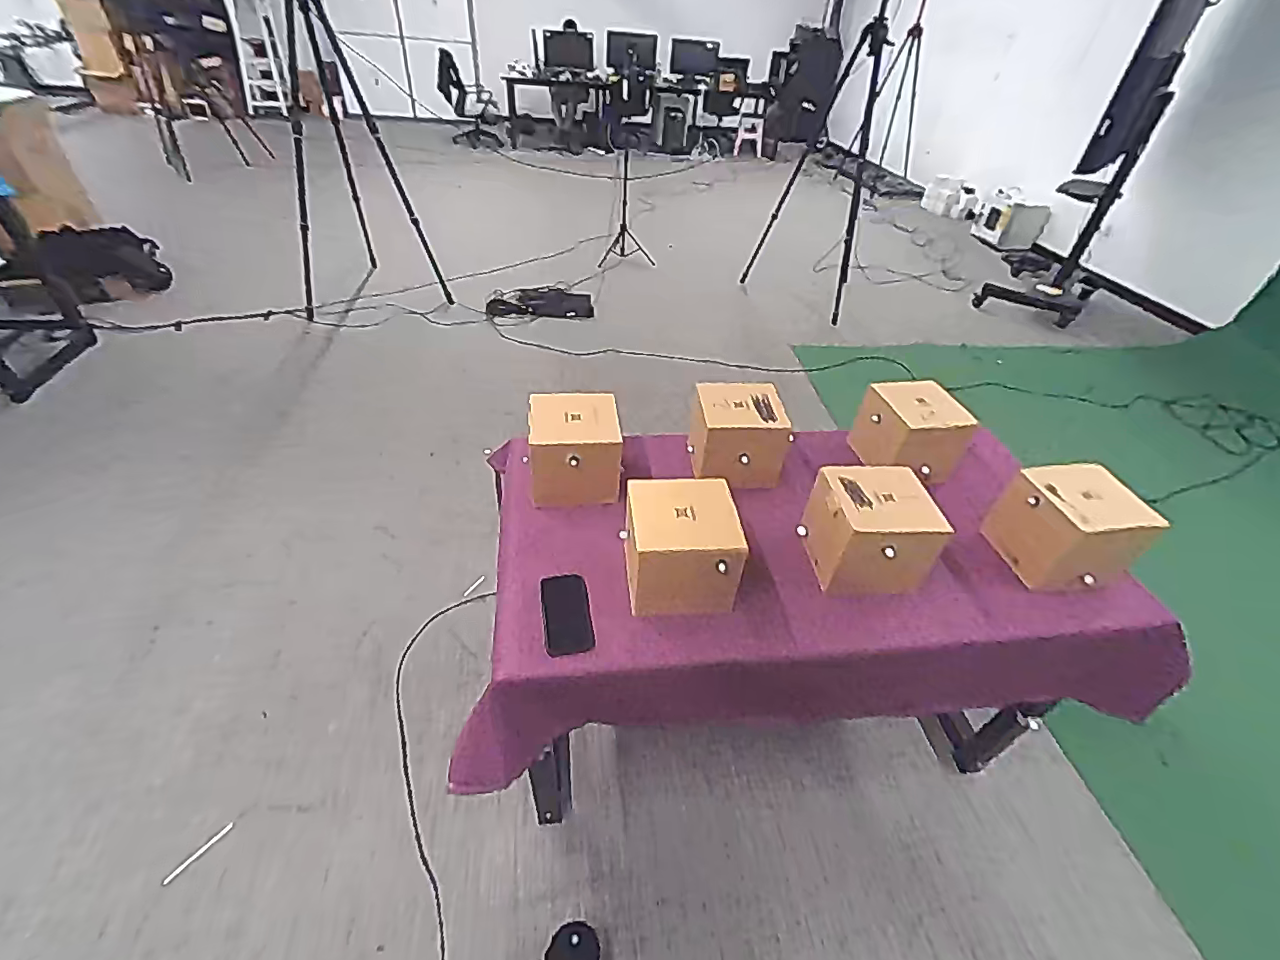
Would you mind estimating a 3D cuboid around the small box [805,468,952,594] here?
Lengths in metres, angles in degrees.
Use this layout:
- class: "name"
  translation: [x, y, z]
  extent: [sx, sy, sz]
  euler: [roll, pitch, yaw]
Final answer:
- class: "small box"
  translation: [0.417, 0.095, 0.988]
  extent: [0.179, 0.176, 0.168]
  euler: [1, 42, -6]

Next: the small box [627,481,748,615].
- class: "small box"
  translation: [0.070, 0.118, 0.931]
  extent: [0.179, 0.176, 0.168]
  euler: [0, 41, -7]

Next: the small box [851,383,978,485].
- class: "small box"
  translation: [0.609, -0.103, 1.229]
  extent: [0.168, 0.176, 0.179]
  euler: [-4, 42, -9]

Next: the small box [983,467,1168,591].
- class: "small box"
  translation: [0.806, 0.093, 1.024]
  extent: [0.179, 0.176, 0.168]
  euler: [-3, 41, -8]
